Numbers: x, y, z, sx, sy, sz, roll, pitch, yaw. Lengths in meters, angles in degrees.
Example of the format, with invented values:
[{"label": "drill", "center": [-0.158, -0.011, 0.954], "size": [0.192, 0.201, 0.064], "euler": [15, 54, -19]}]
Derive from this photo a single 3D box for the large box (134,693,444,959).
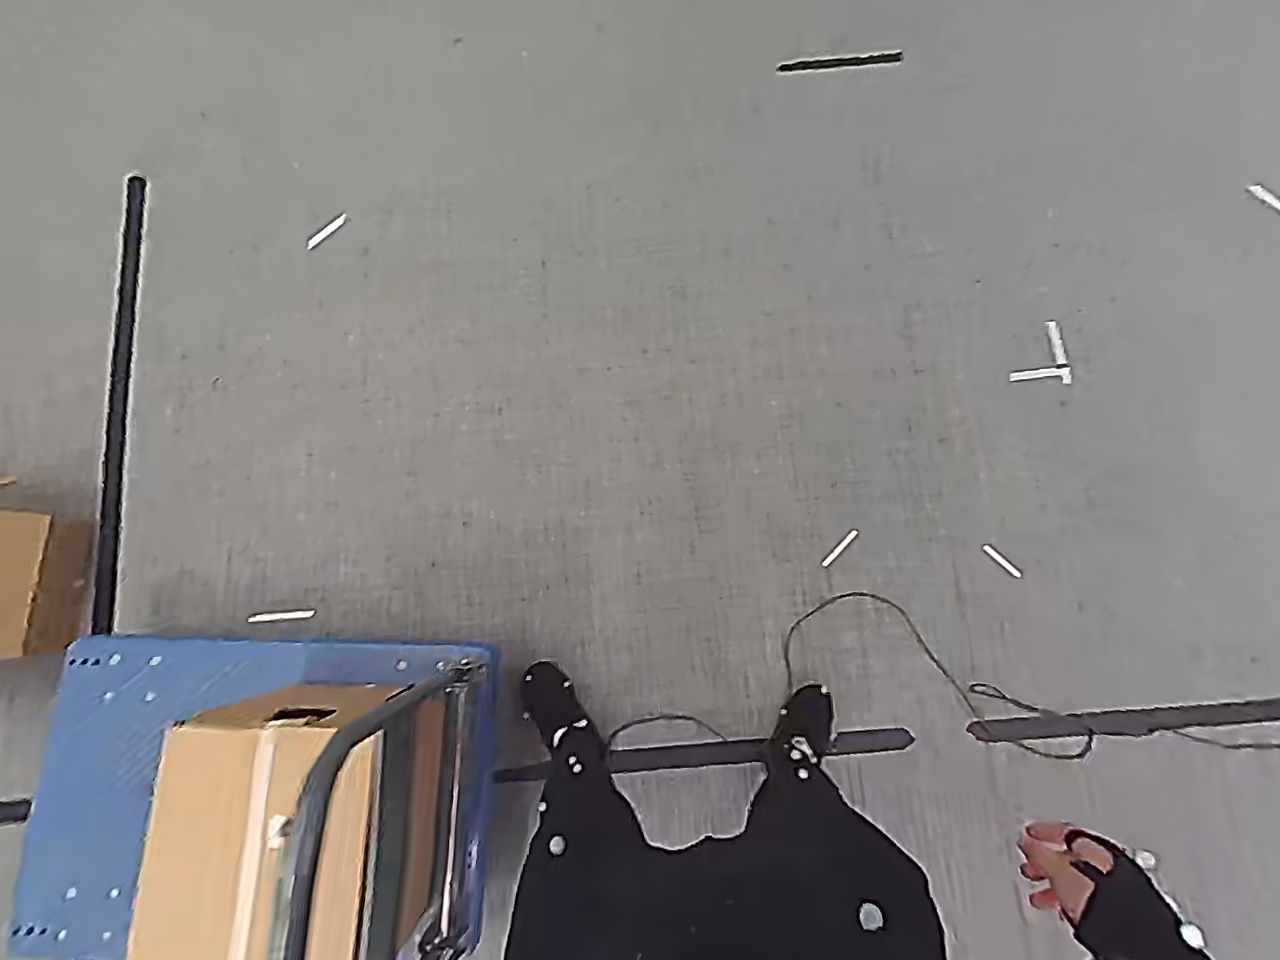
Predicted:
[{"label": "large box", "center": [-0.547, 0.599, 0.912], "size": [0.320, 0.320, 0.408], "euler": [1, 78, -1]}]
